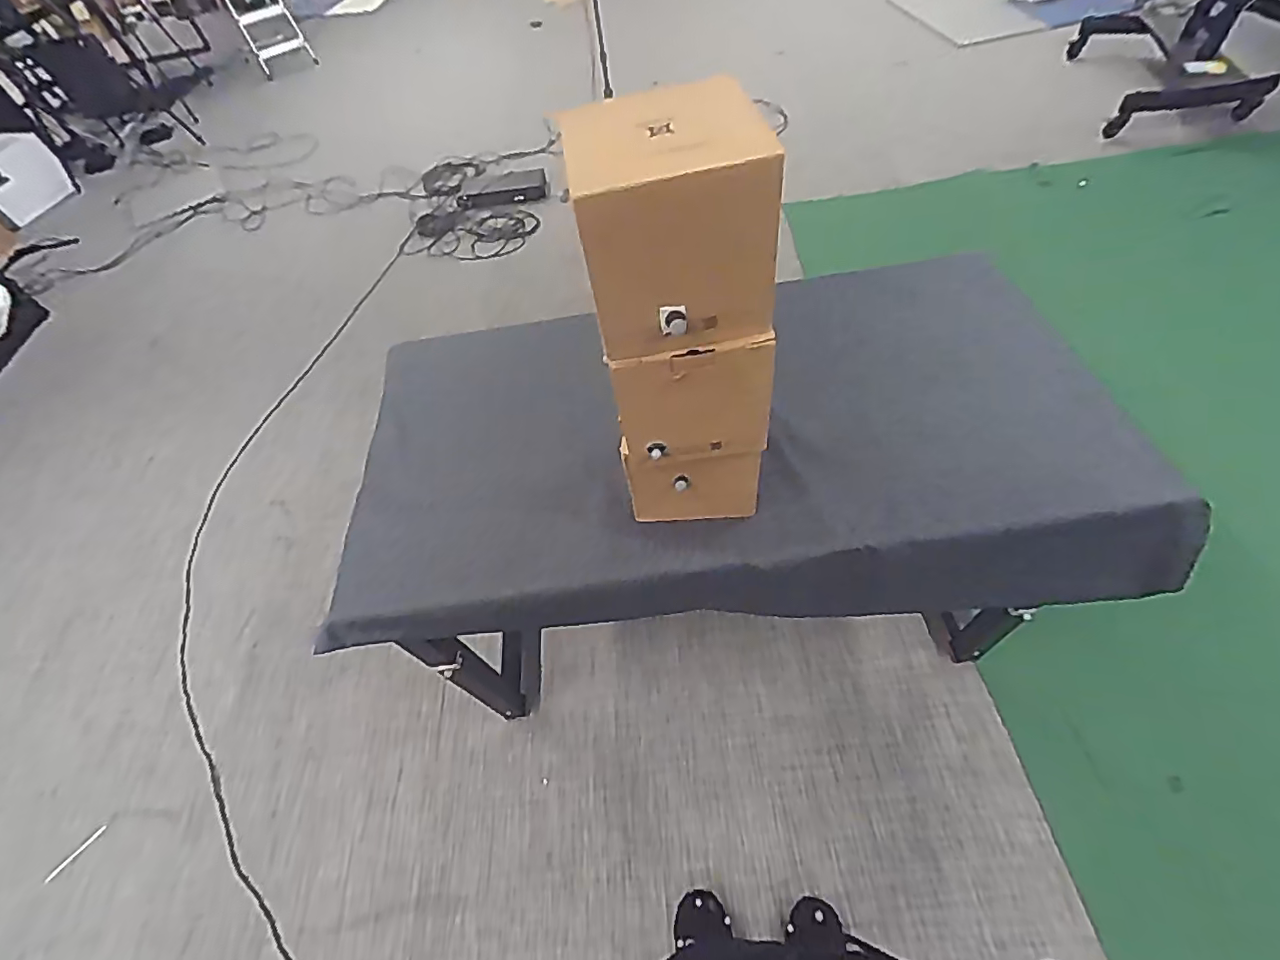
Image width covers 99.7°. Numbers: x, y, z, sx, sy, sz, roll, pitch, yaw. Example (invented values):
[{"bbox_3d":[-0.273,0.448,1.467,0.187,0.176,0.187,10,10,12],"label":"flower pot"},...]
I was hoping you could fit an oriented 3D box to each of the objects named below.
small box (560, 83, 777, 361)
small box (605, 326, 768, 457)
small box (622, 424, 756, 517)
[{"bbox_3d":[0.024,-0.246,0.527,0.168,0.176,0.179,-12,54,2],"label":"small box"},{"bbox_3d":[0.050,-0.144,0.650,0.168,0.176,0.179,-11,55,2],"label":"small box"},{"bbox_3d":[0.071,-0.059,0.793,0.179,0.176,0.168,-6,52,4],"label":"small box"}]
